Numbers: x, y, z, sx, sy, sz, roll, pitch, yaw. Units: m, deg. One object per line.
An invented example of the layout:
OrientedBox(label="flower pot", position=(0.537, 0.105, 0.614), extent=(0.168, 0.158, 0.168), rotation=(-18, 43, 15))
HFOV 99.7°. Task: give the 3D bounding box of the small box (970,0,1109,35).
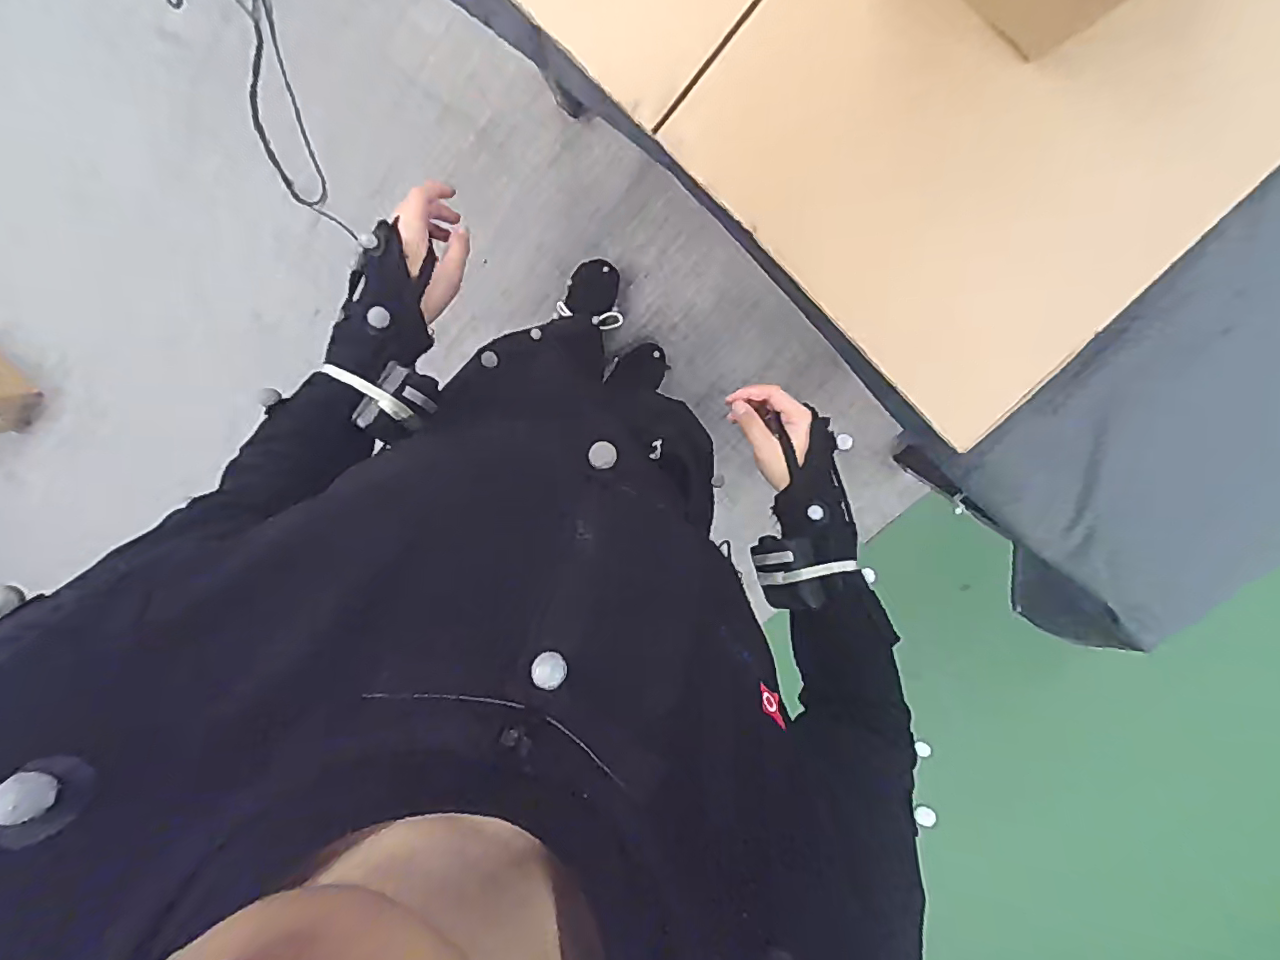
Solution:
OrientedBox(label="small box", position=(0.274, -0.405, 0.301), extent=(0.179, 0.176, 0.168), rotation=(34, 103, -8))

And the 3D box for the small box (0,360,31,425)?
OrientedBox(label="small box", position=(-1.694, -0.225, 1.333), extent=(0.168, 0.176, 0.179), rotation=(-41, 102, 14))
